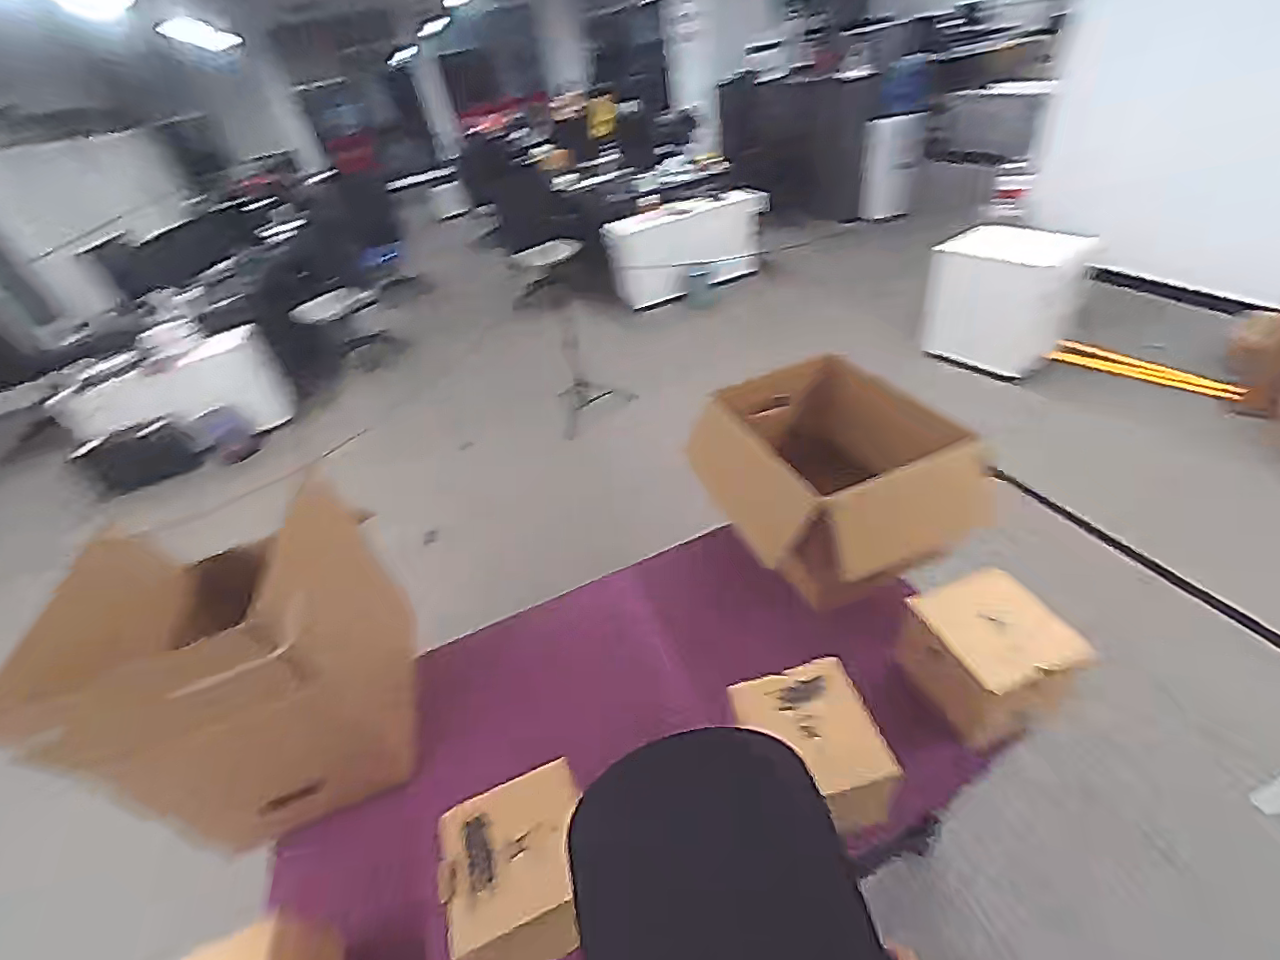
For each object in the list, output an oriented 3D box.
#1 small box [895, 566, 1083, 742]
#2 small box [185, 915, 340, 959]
[{"bbox_3d":[0.533,0.274,0.859,0.168,0.176,0.179,-19,38,-6],"label":"small box"},{"bbox_3d":[-0.488,0.678,0.643,0.179,0.176,0.168,-22,39,-14],"label":"small box"}]
